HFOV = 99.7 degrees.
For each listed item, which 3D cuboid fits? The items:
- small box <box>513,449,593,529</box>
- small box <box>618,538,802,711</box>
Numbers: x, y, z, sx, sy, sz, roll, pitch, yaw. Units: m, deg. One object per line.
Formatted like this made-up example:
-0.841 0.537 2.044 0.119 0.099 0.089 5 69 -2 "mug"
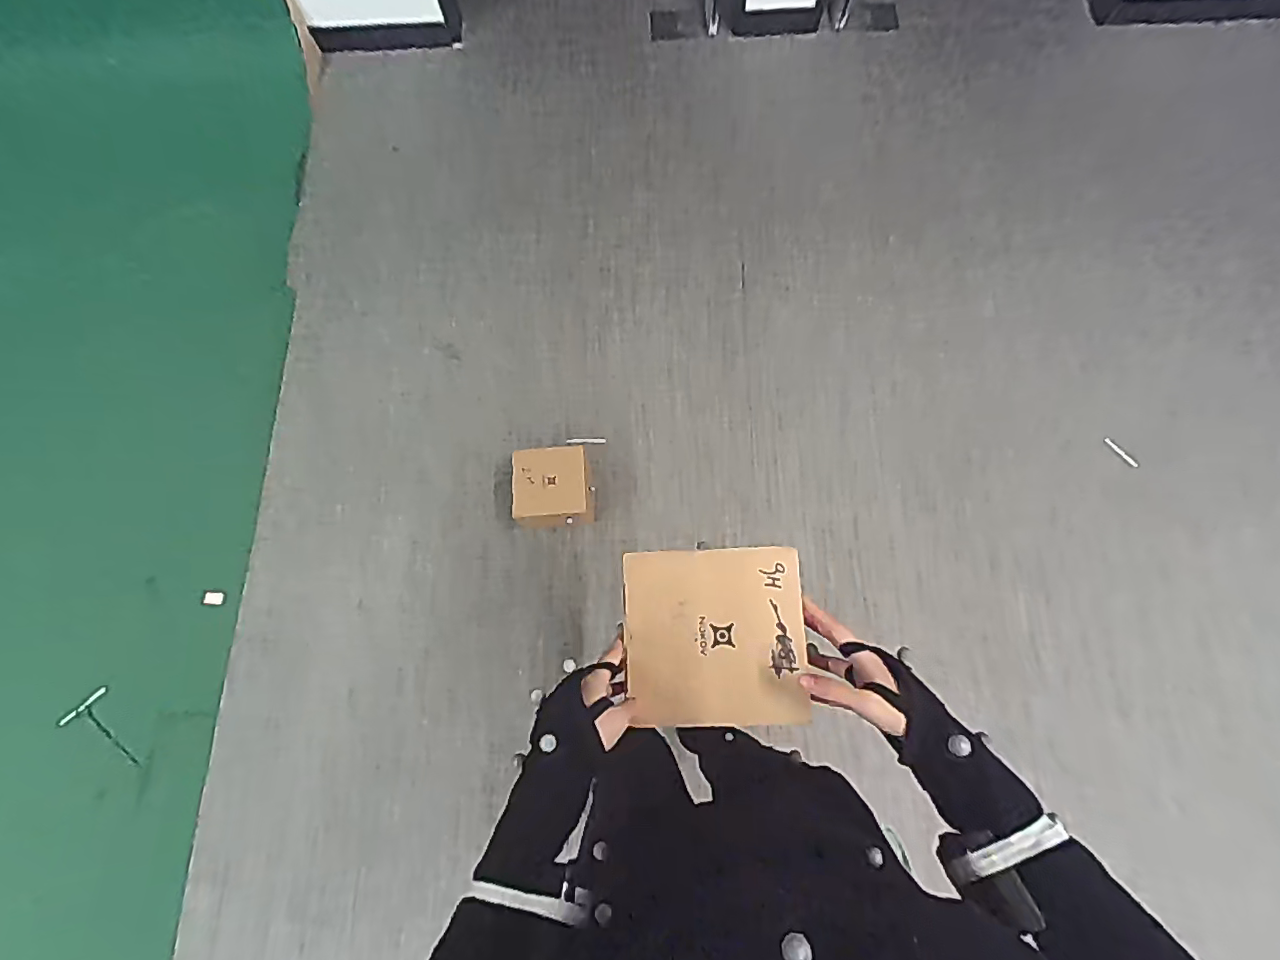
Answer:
-0.214 0.028 1.369 0.179 0.176 0.168 -4 75 2 "small box"
0.074 0.158 0.611 0.179 0.176 0.168 -3 78 5 "small box"
